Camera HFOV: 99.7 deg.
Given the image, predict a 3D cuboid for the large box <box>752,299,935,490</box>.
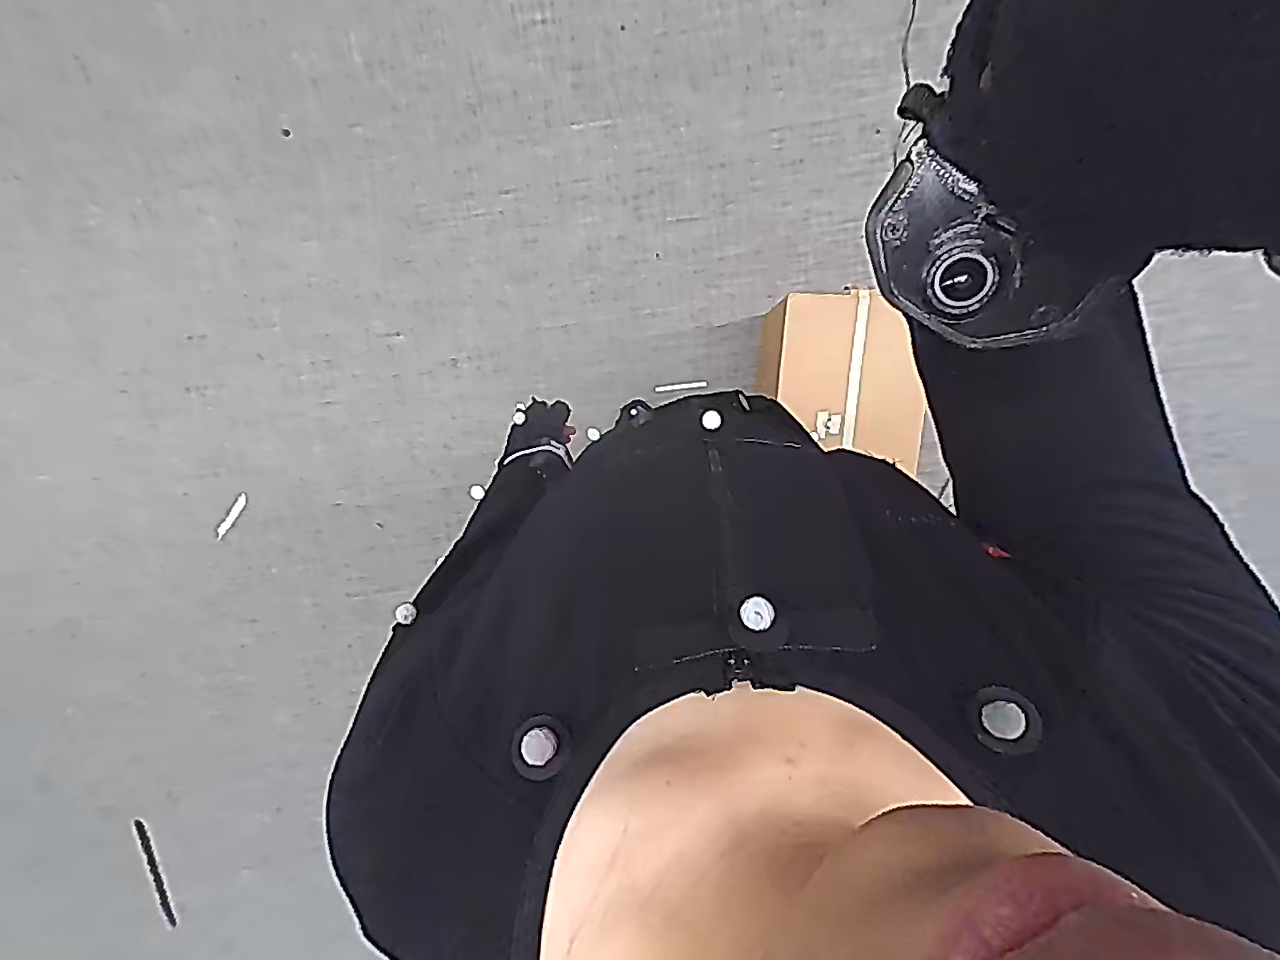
[{"bbox_3d":[0.462,-0.208,1.311,0.320,0.320,0.408,4,100,3],"label":"large box"}]
